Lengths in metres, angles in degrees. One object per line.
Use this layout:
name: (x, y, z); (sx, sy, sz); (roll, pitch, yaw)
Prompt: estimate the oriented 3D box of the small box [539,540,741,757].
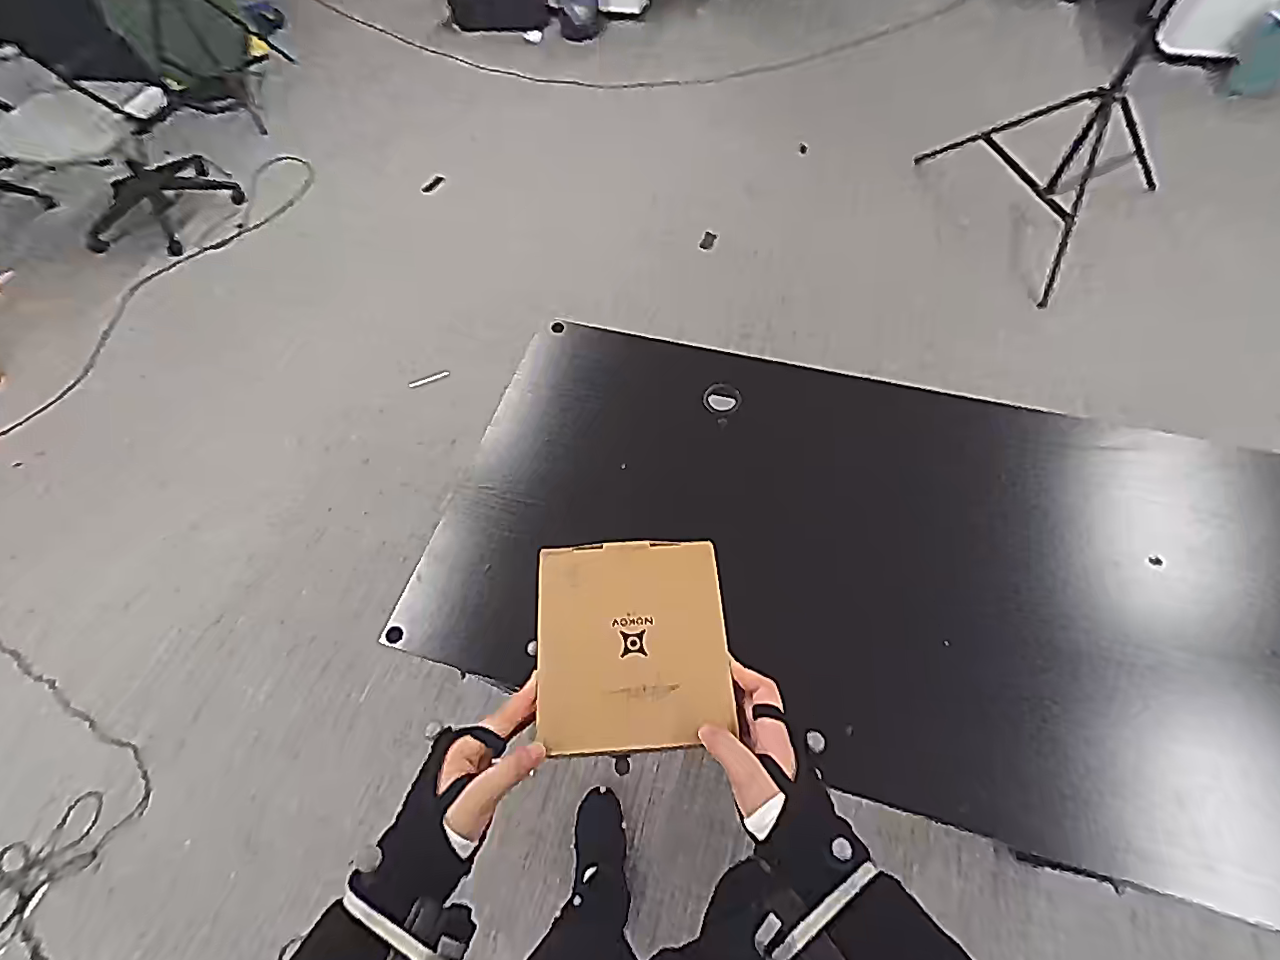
small box: (-0.007, 0.174, 0.542); (0.168, 0.176, 0.179); (-3, 63, -3)
